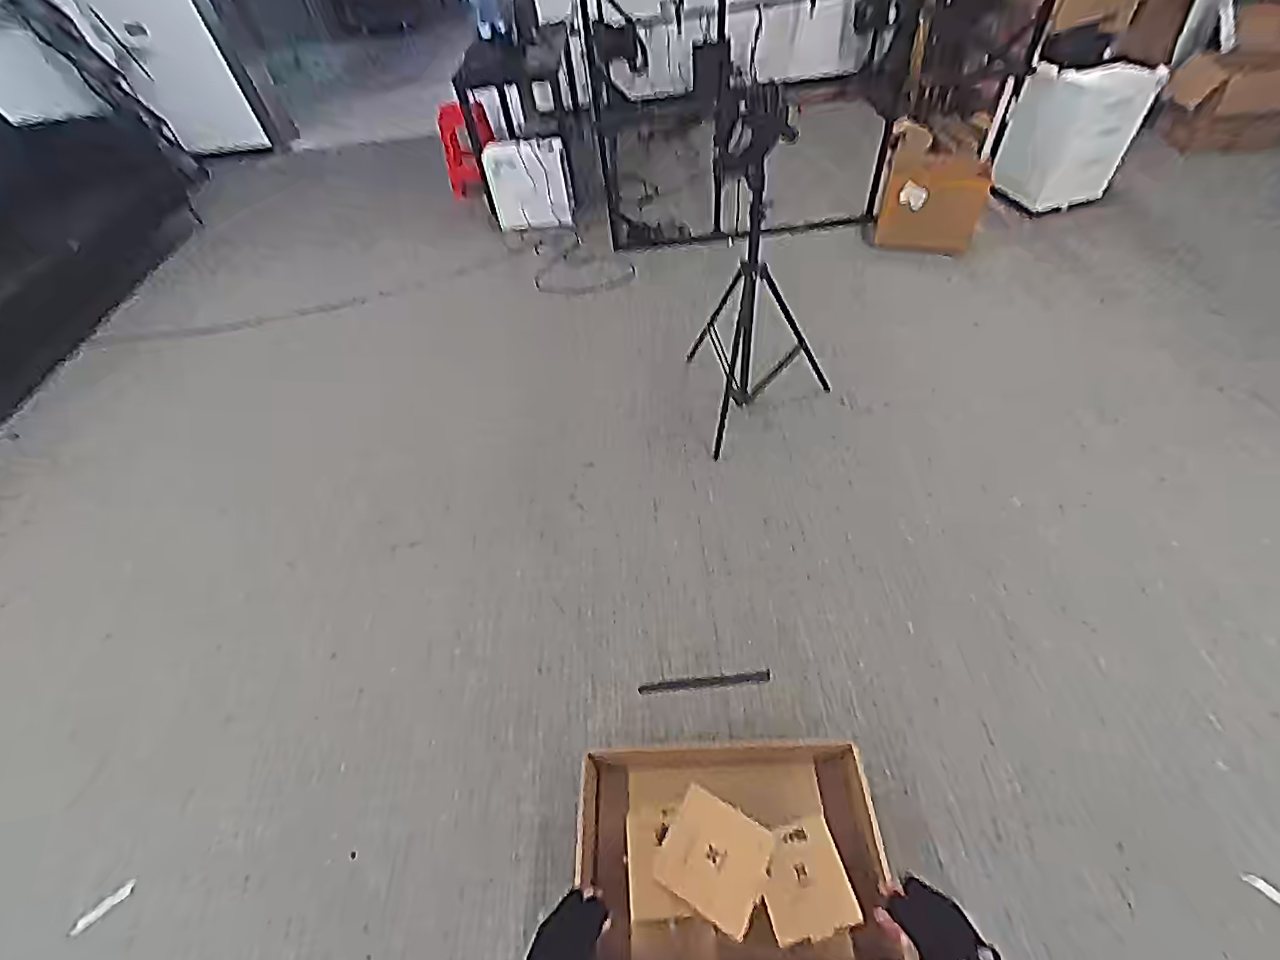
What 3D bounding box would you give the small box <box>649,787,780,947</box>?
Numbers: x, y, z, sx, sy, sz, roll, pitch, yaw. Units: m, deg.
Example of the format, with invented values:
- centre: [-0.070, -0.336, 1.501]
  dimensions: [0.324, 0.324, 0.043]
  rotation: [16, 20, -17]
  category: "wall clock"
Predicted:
- centre: [0.137, 0.704, 0.986]
  dimensions: [0.179, 0.176, 0.168]
  rotation: [21, 53, 24]
  category: "small box"
